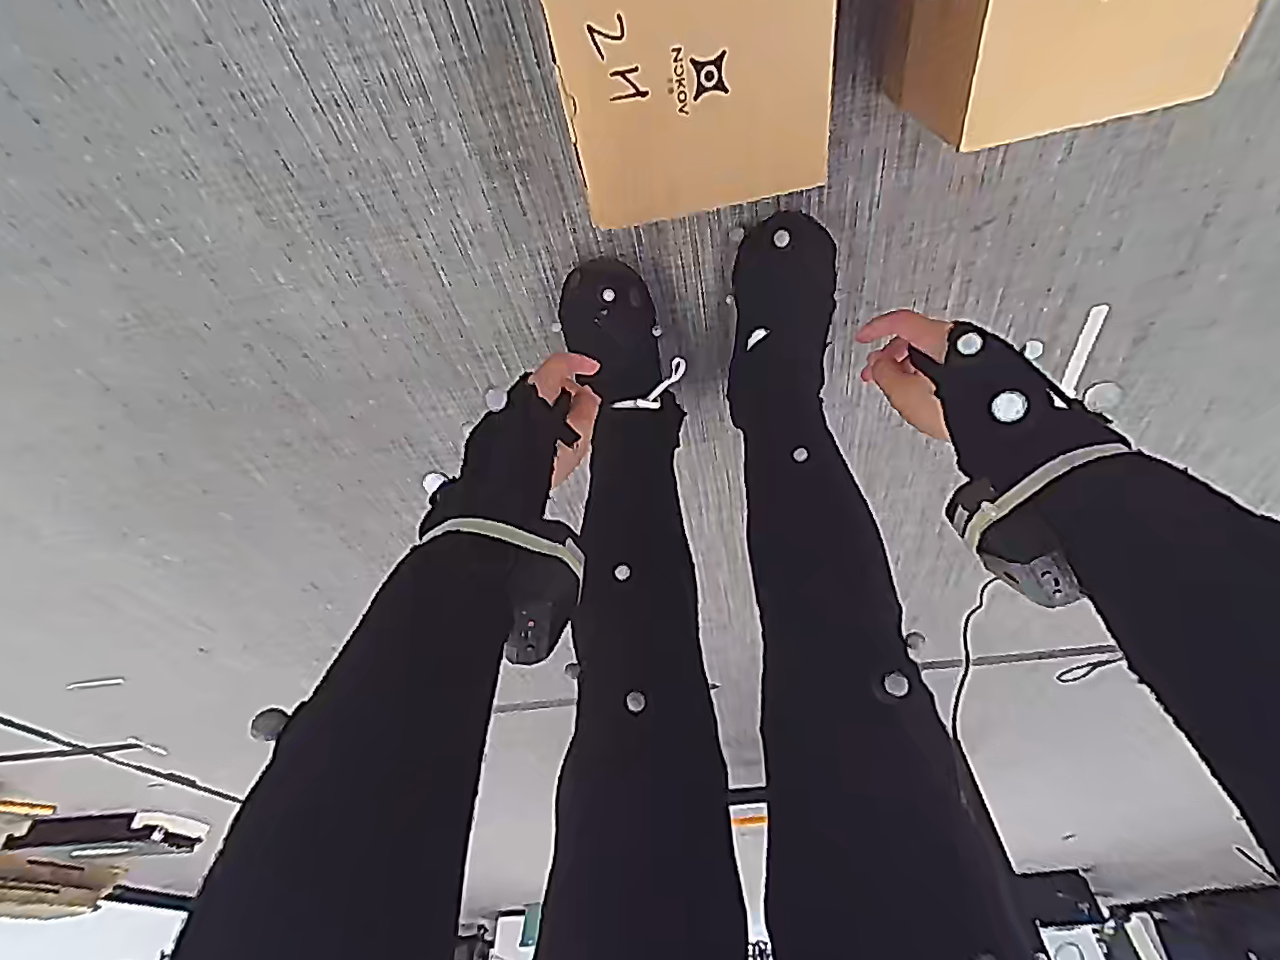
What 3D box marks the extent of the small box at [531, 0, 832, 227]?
[{"bbox_3d":[0.027,-0.314,0.392,0.179,0.176,0.168,-9,136,6],"label":"small box"}]
